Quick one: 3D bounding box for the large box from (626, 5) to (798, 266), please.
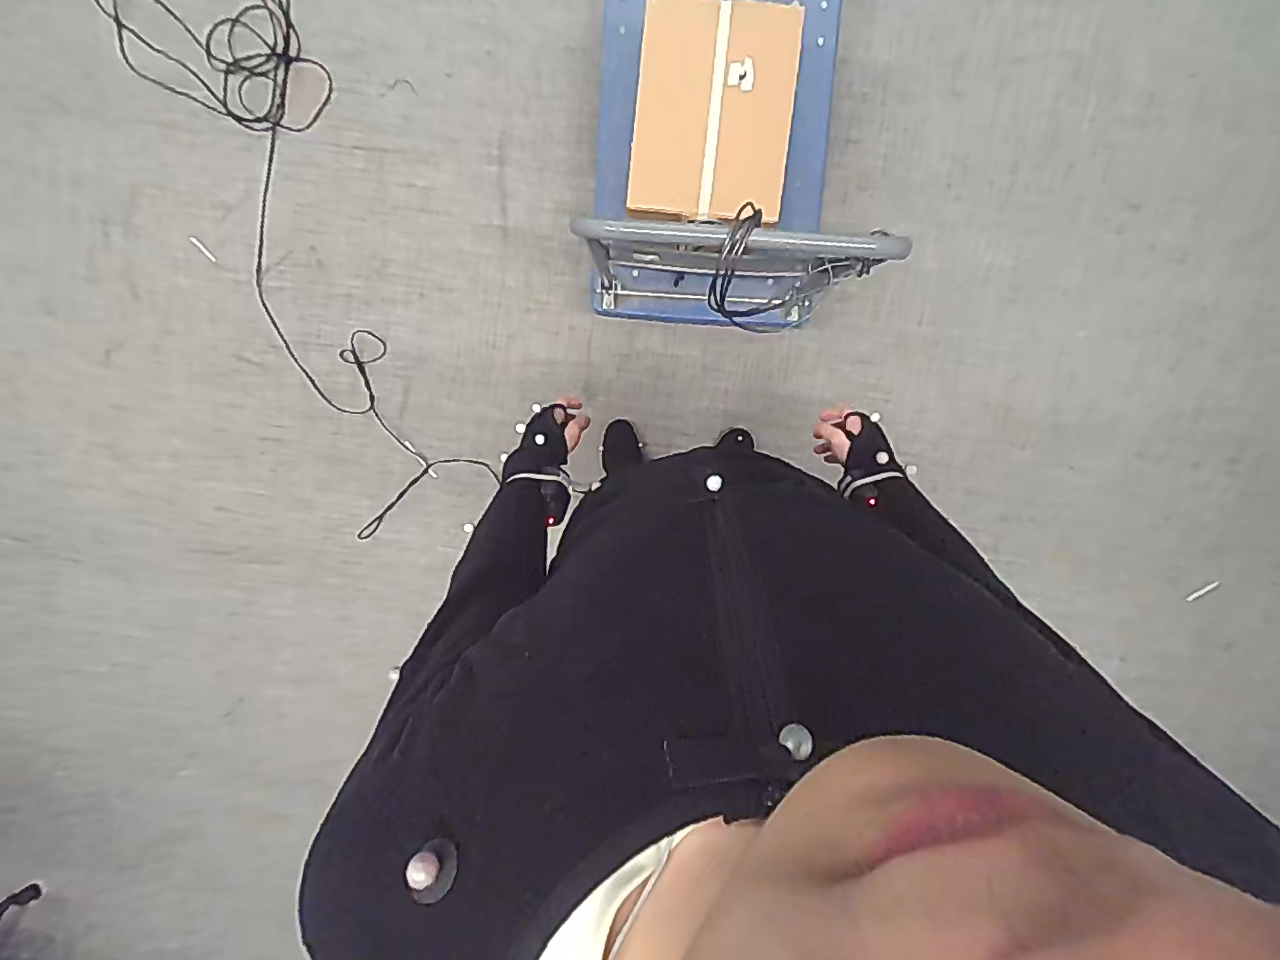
[{"bbox_3d":[0.147,-0.743,1.232,0.320,0.320,0.408,6,95,1],"label":"large box"}]
